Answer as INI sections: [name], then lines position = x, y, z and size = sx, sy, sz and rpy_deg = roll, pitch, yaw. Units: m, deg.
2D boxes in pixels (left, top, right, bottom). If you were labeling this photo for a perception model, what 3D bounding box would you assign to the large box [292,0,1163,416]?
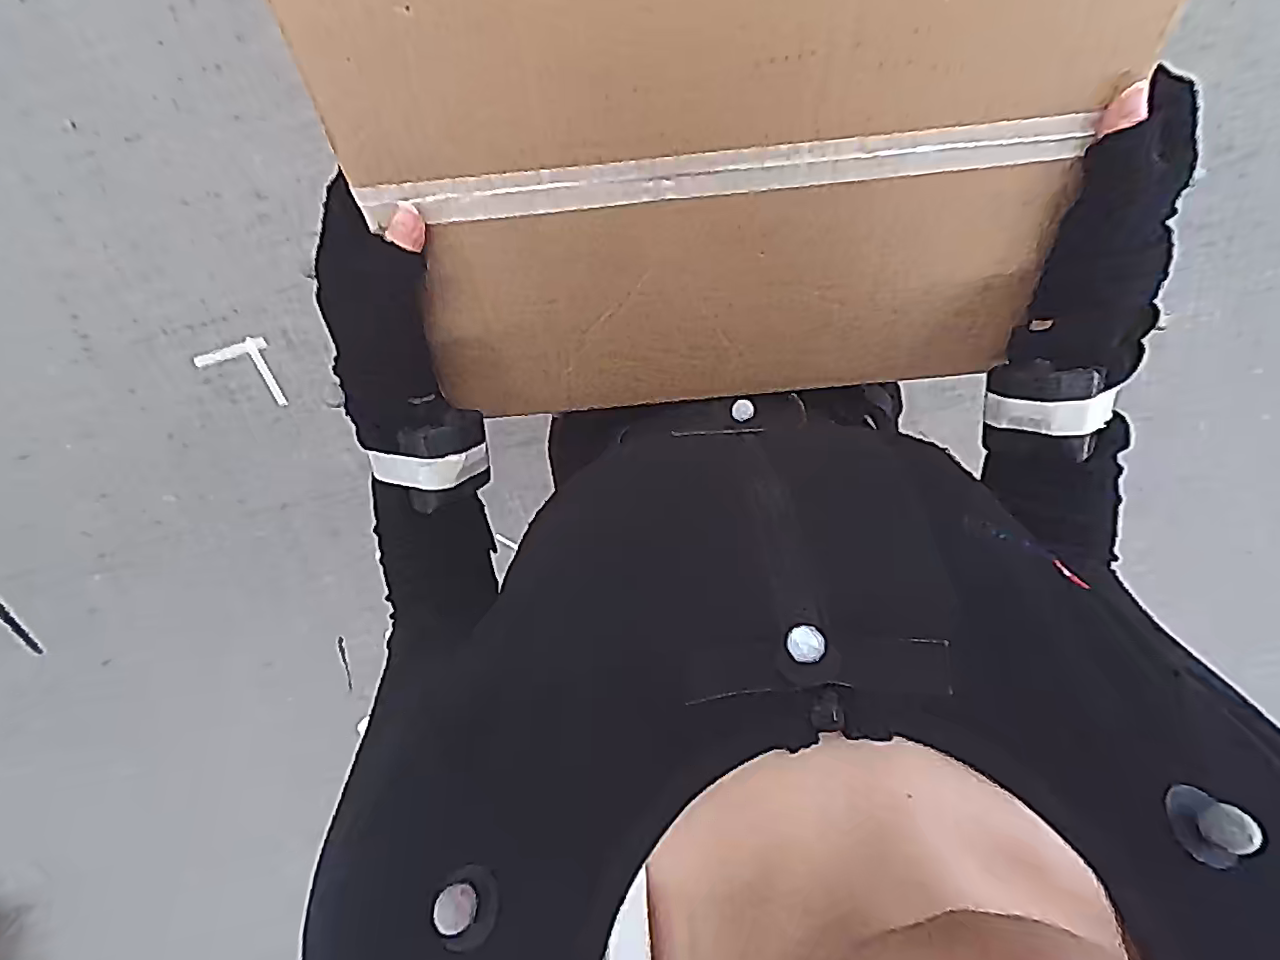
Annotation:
[large box]
position = 0.044, -0.281, 0.400
size = 0.408, 0.320, 0.320
rpy_deg = -5, 138, 1
